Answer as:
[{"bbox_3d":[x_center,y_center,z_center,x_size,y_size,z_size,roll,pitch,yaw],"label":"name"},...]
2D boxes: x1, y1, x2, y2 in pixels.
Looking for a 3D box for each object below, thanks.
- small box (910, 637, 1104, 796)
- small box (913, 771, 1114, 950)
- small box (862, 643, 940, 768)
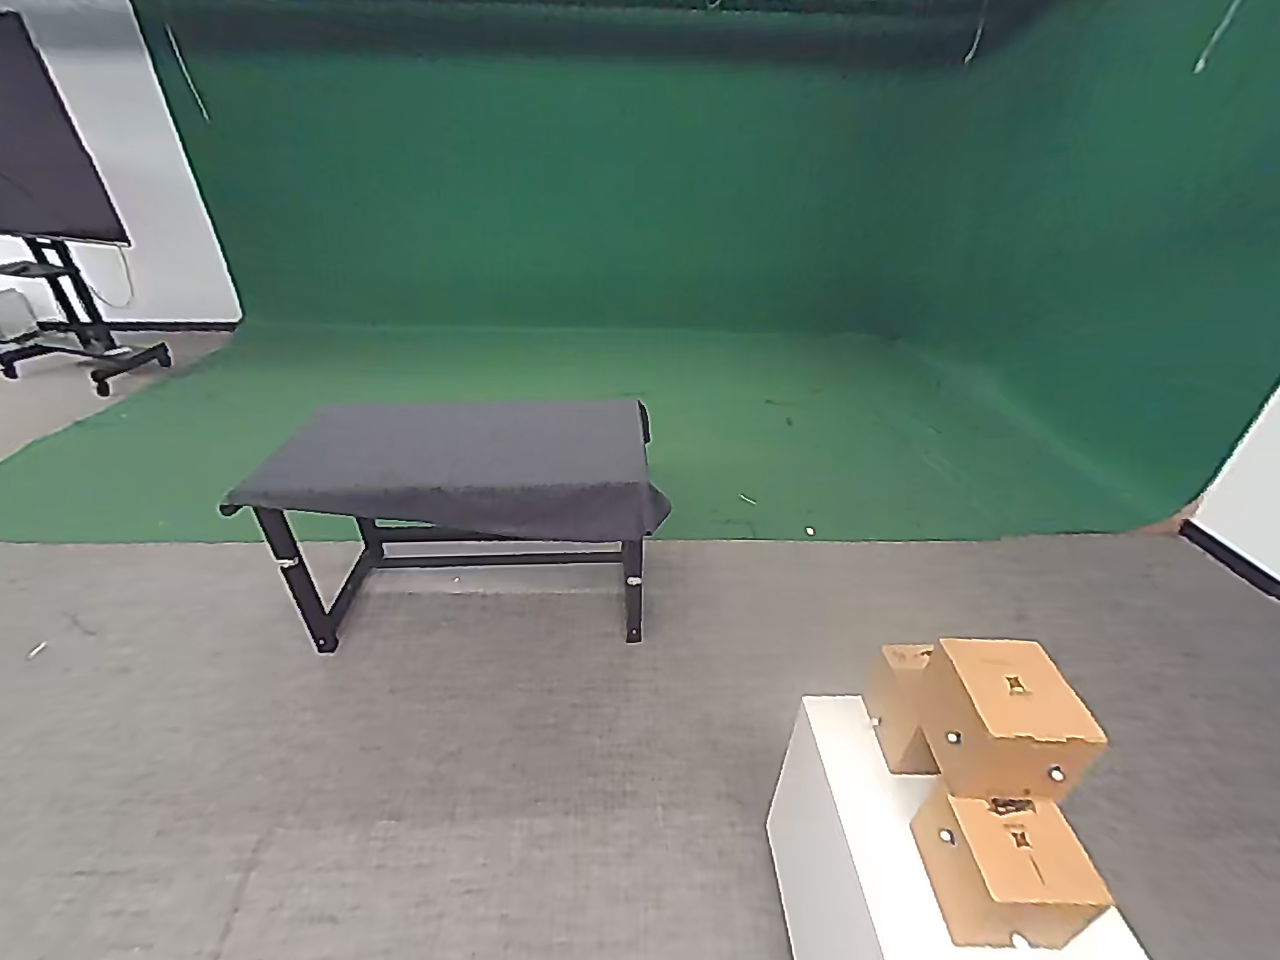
[{"bbox_3d":[0.562,0.374,0.859,0.168,0.176,0.179,2,32,0],"label":"small box"},{"bbox_3d":[0.553,0.582,0.835,0.168,0.176,0.179,1,33,1],"label":"small box"},{"bbox_3d":[0.557,0.441,1.053,0.168,0.176,0.179,0,35,-1],"label":"small box"}]
